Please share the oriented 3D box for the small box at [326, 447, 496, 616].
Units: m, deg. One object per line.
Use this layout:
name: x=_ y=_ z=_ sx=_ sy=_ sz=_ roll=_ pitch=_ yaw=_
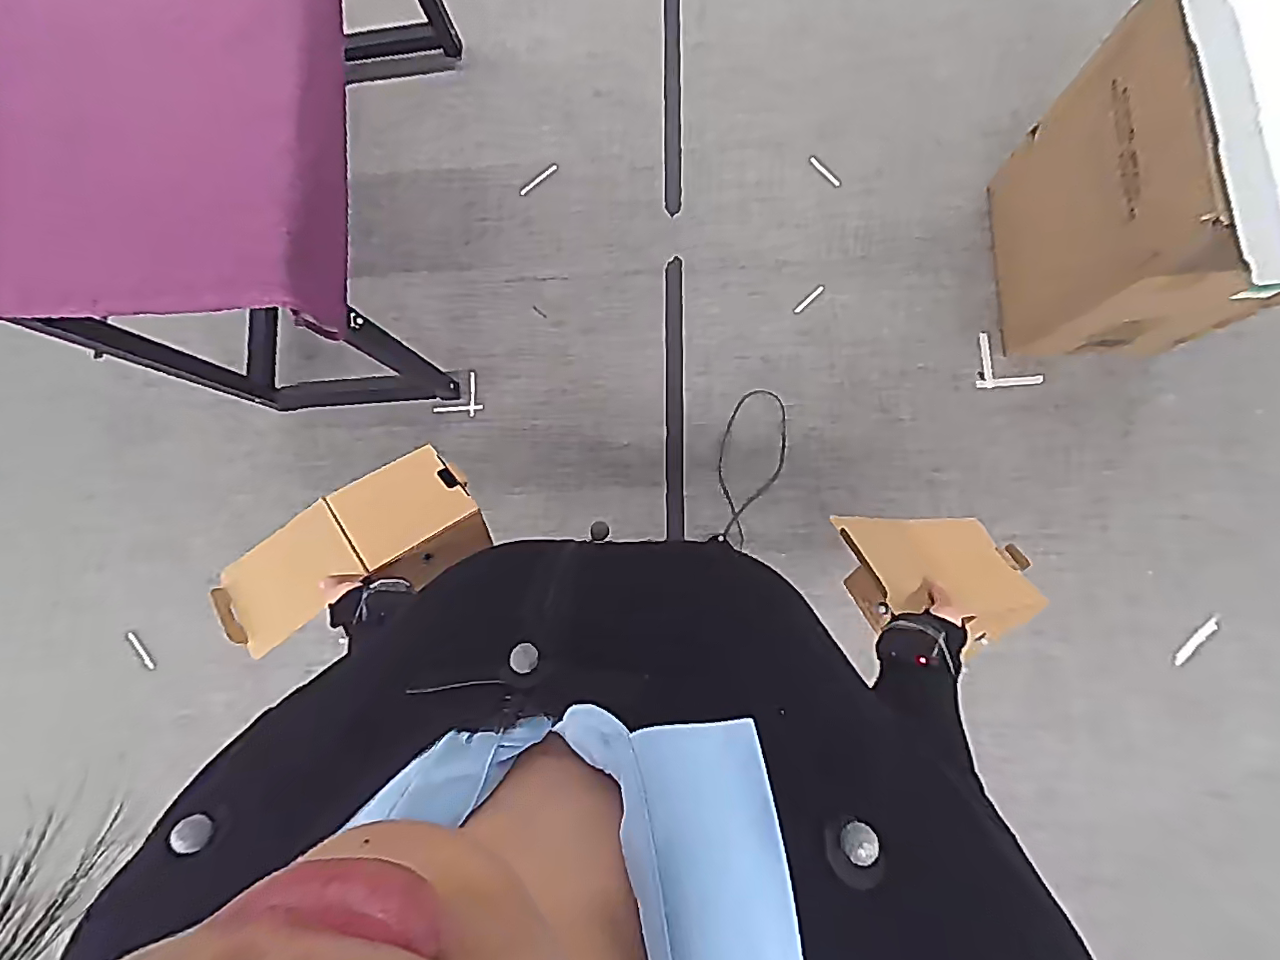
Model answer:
small box: x=-0.356 y=0.086 z=0.869 sx=0.179 sy=0.176 sz=0.168 roll=-33 pitch=61 yaw=-24
